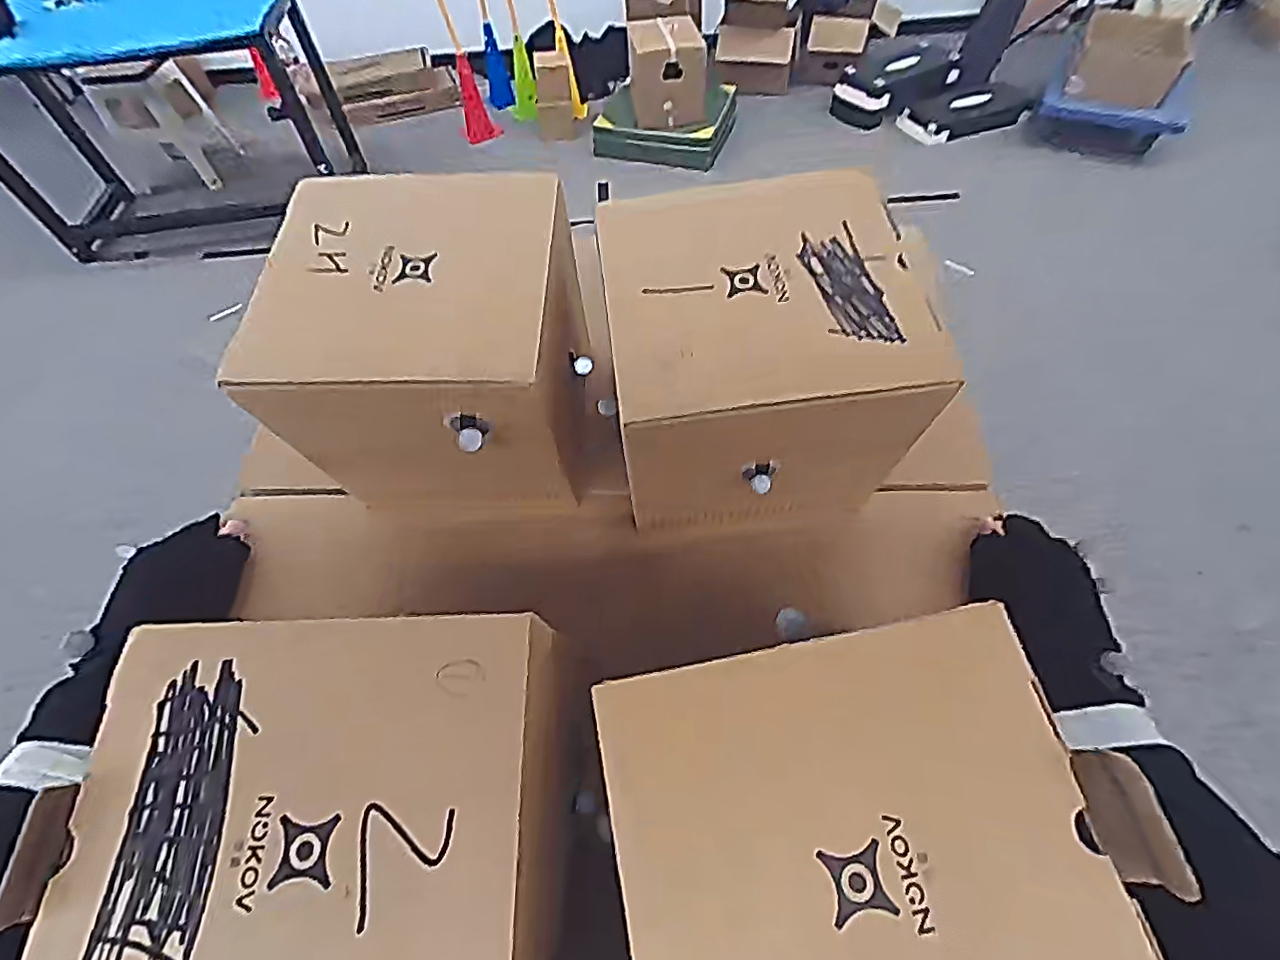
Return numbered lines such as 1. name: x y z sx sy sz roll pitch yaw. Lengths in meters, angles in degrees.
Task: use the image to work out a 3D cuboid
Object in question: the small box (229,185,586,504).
1. small box: -0.139 -0.089 0.405 0.179 0.176 0.168 1 64 3
